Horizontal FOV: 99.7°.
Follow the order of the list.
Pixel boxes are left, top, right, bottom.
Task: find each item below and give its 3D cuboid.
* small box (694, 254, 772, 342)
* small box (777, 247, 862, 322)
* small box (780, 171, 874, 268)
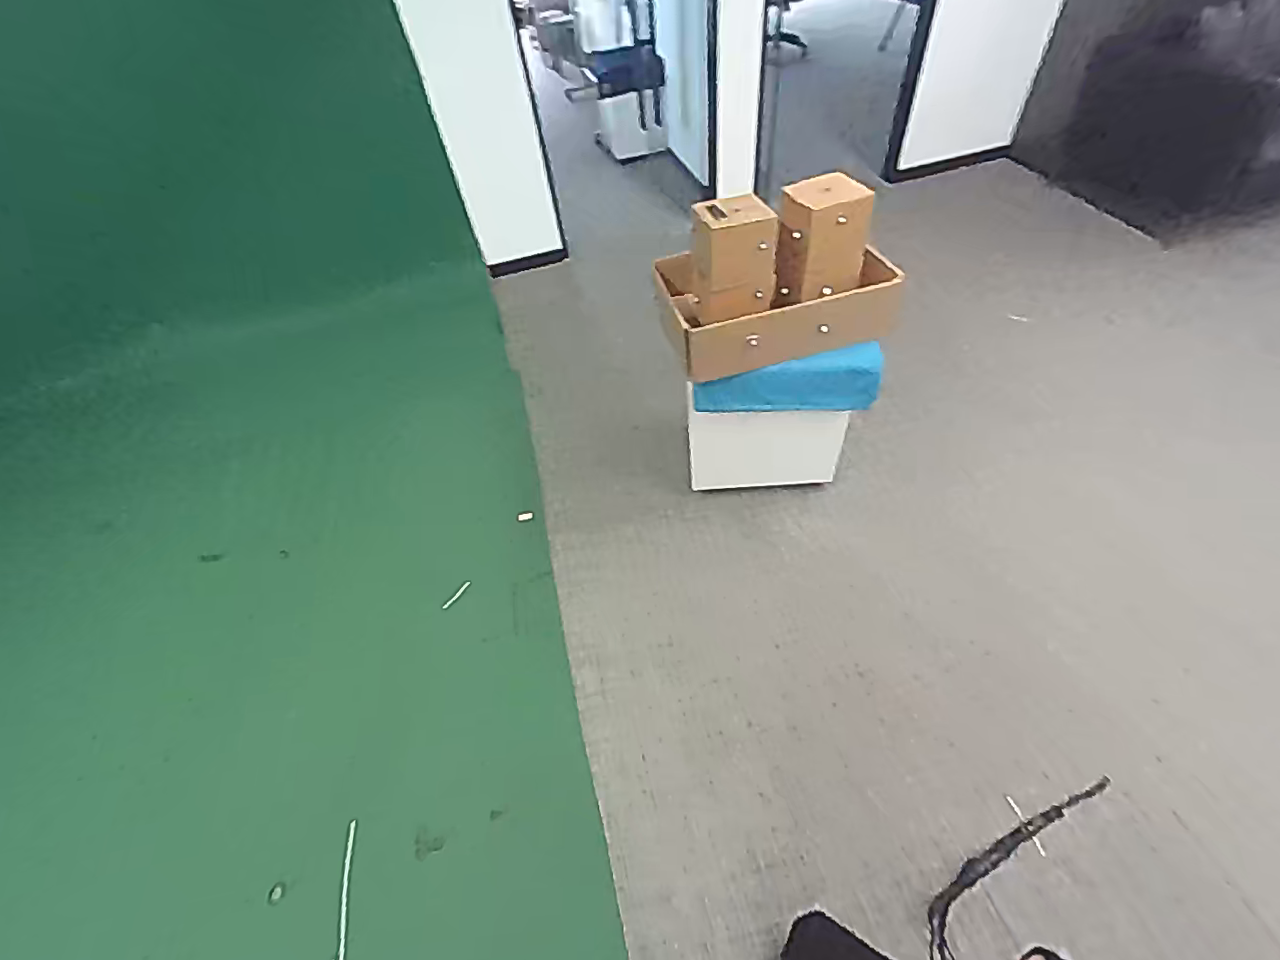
[{"bbox_3d":[0.263,-0.519,1.550,0.179,0.176,0.168,-14,48,-6],"label":"small box"},{"bbox_3d":[0.512,-0.582,1.561,0.179,0.176,0.168,-19,49,-5],"label":"small box"},{"bbox_3d":[0.488,-0.689,1.439,0.179,0.176,0.168,-19,49,-6],"label":"small box"}]
